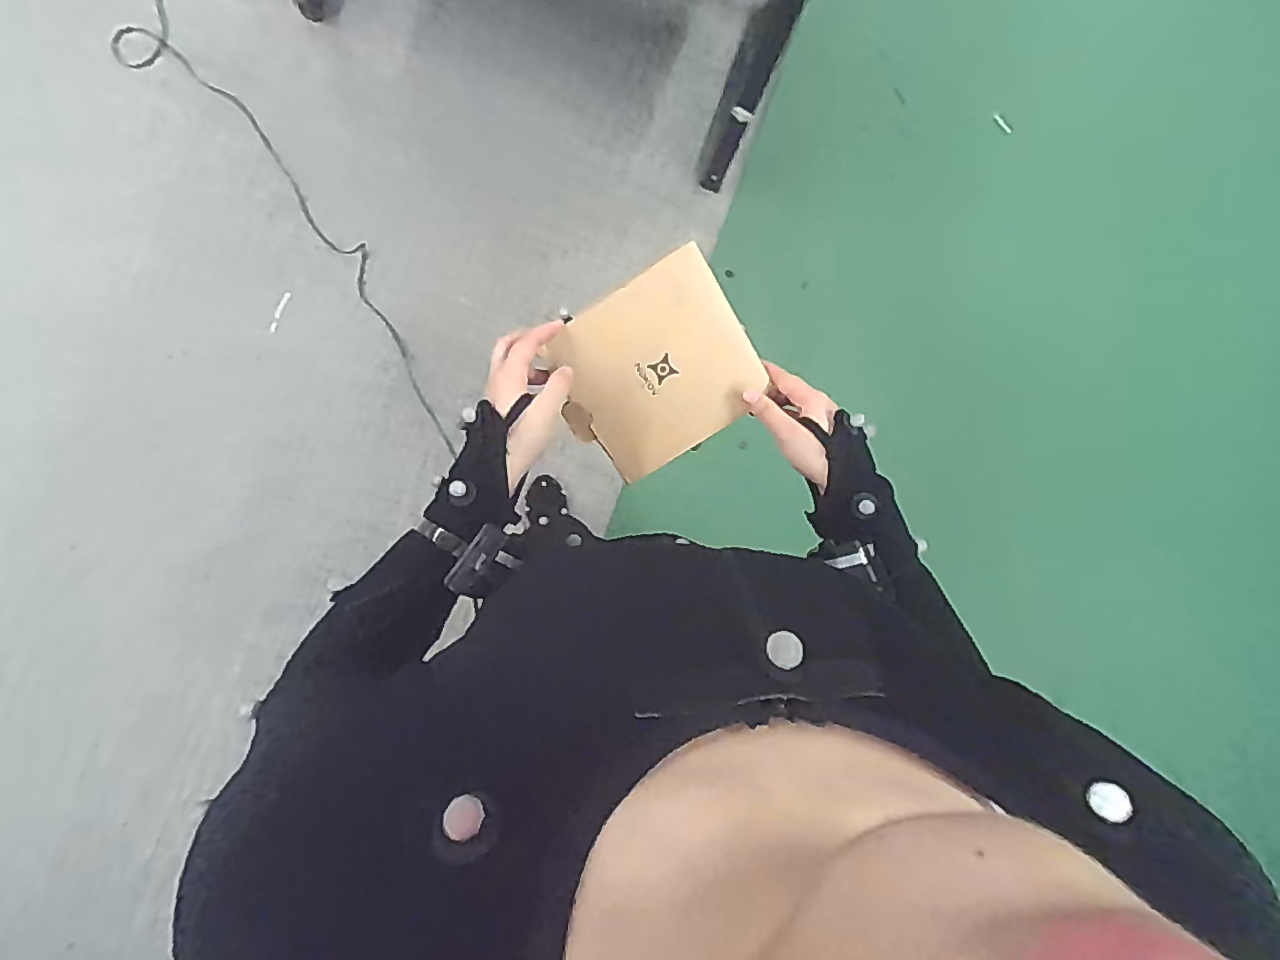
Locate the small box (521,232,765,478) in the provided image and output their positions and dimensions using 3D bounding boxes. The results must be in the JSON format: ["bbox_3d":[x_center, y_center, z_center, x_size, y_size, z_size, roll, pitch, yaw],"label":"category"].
[{"bbox_3d":[0.000,-0.136,0.573,0.179,0.176,0.168,-32,109,9],"label":"small box"}]
